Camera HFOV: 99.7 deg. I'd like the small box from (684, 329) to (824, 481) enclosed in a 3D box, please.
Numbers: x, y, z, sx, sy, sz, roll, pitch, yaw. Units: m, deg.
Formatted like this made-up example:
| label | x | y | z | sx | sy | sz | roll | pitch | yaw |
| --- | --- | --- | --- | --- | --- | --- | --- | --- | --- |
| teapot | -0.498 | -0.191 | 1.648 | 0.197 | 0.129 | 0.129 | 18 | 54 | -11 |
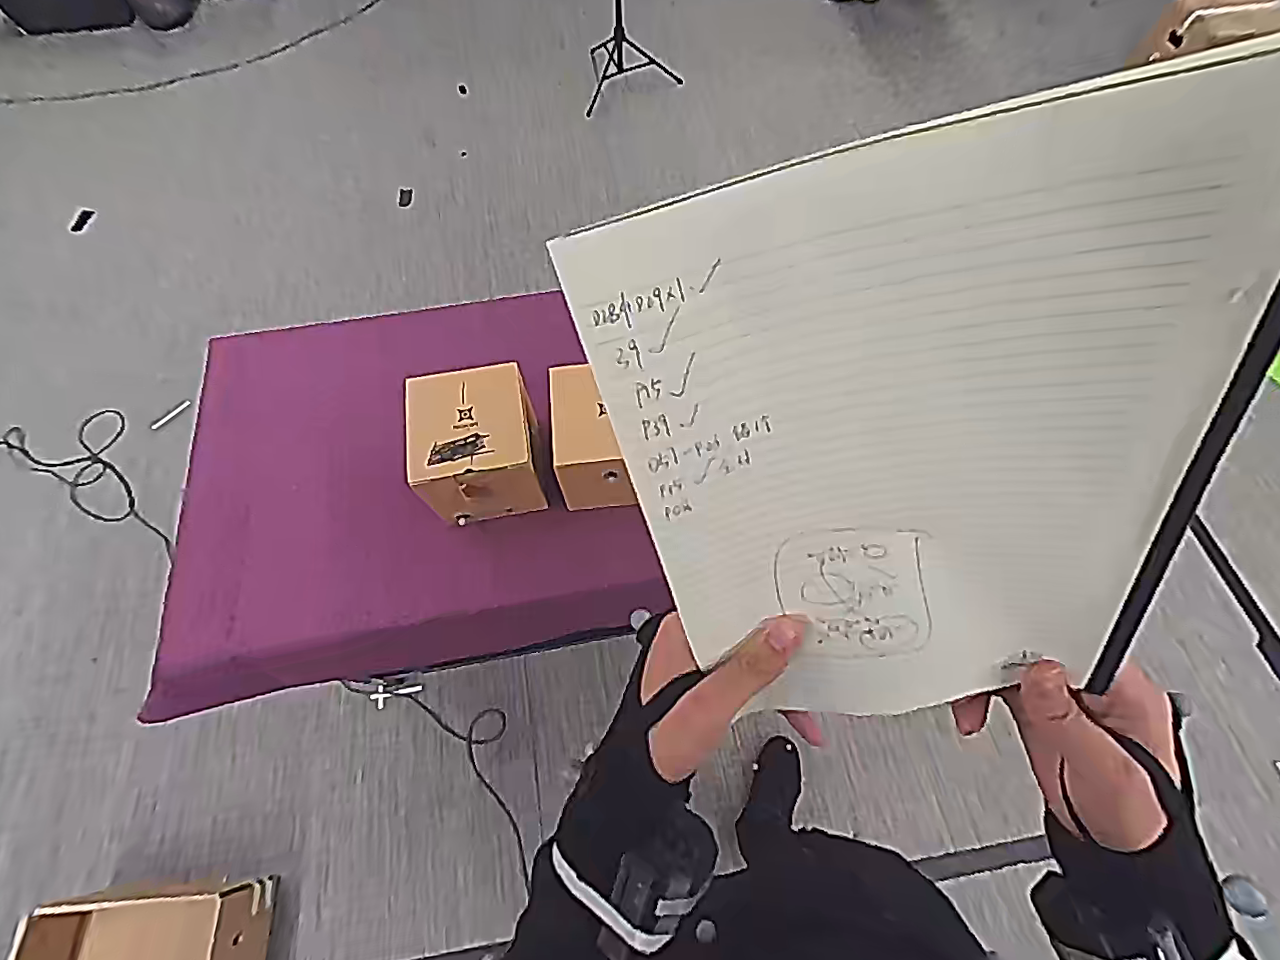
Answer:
| label | x | y | z | sx | sy | sz | roll | pitch | yaw |
| --- | --- | --- | --- | --- | --- | --- | --- | --- | --- |
| small box | 0.168 | -0.108 | 0.857 | 0.168 | 0.176 | 0.179 | -8 | 65 | -4 |
